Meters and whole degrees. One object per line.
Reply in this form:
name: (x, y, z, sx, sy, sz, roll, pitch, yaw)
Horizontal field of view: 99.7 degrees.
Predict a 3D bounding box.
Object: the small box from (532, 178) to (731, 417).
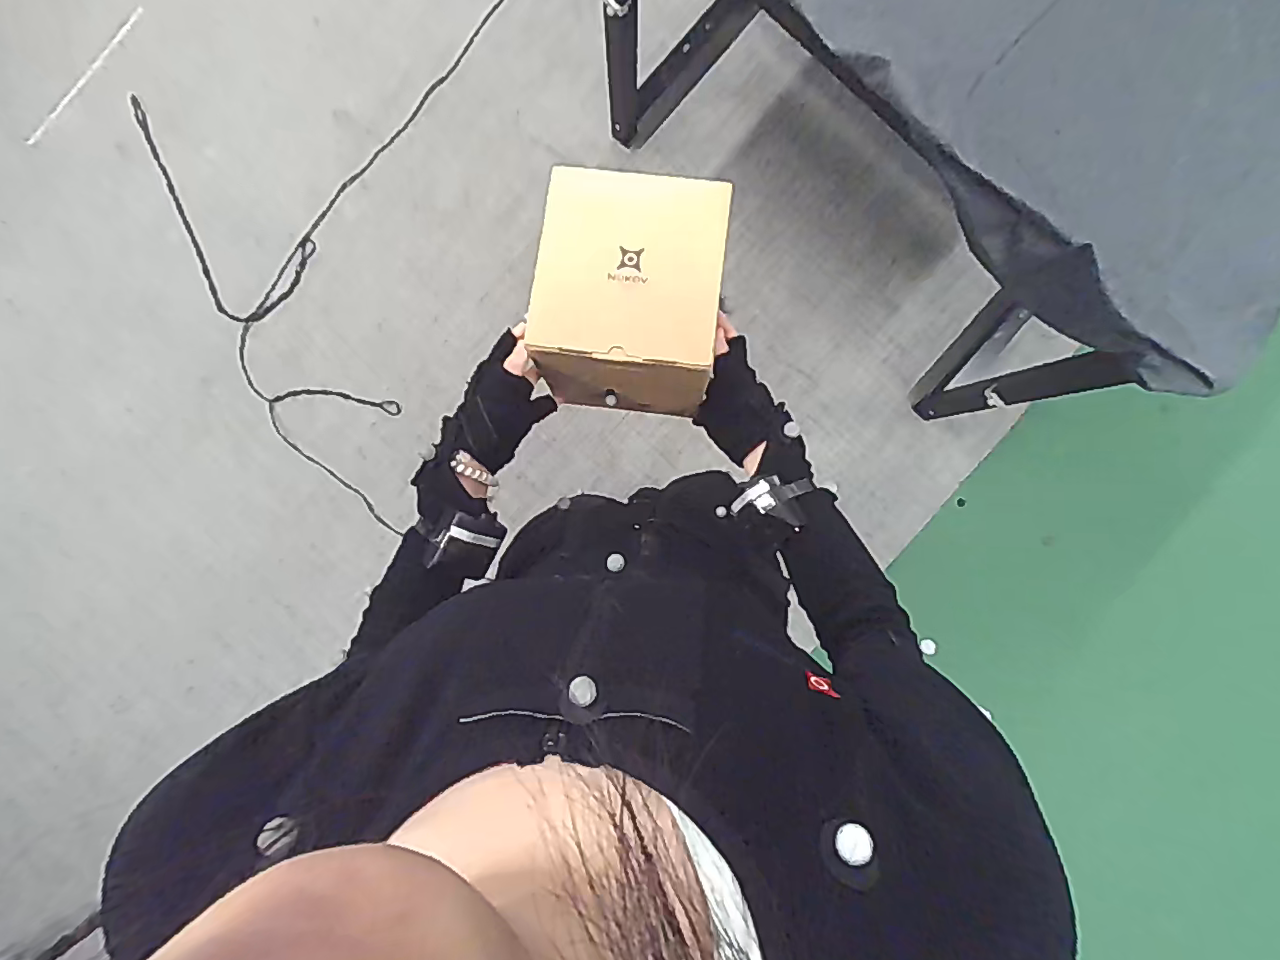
small box: (-0.006, -0.178, 0.572, 0.168, 0.176, 0.179, 7, 84, 2)
